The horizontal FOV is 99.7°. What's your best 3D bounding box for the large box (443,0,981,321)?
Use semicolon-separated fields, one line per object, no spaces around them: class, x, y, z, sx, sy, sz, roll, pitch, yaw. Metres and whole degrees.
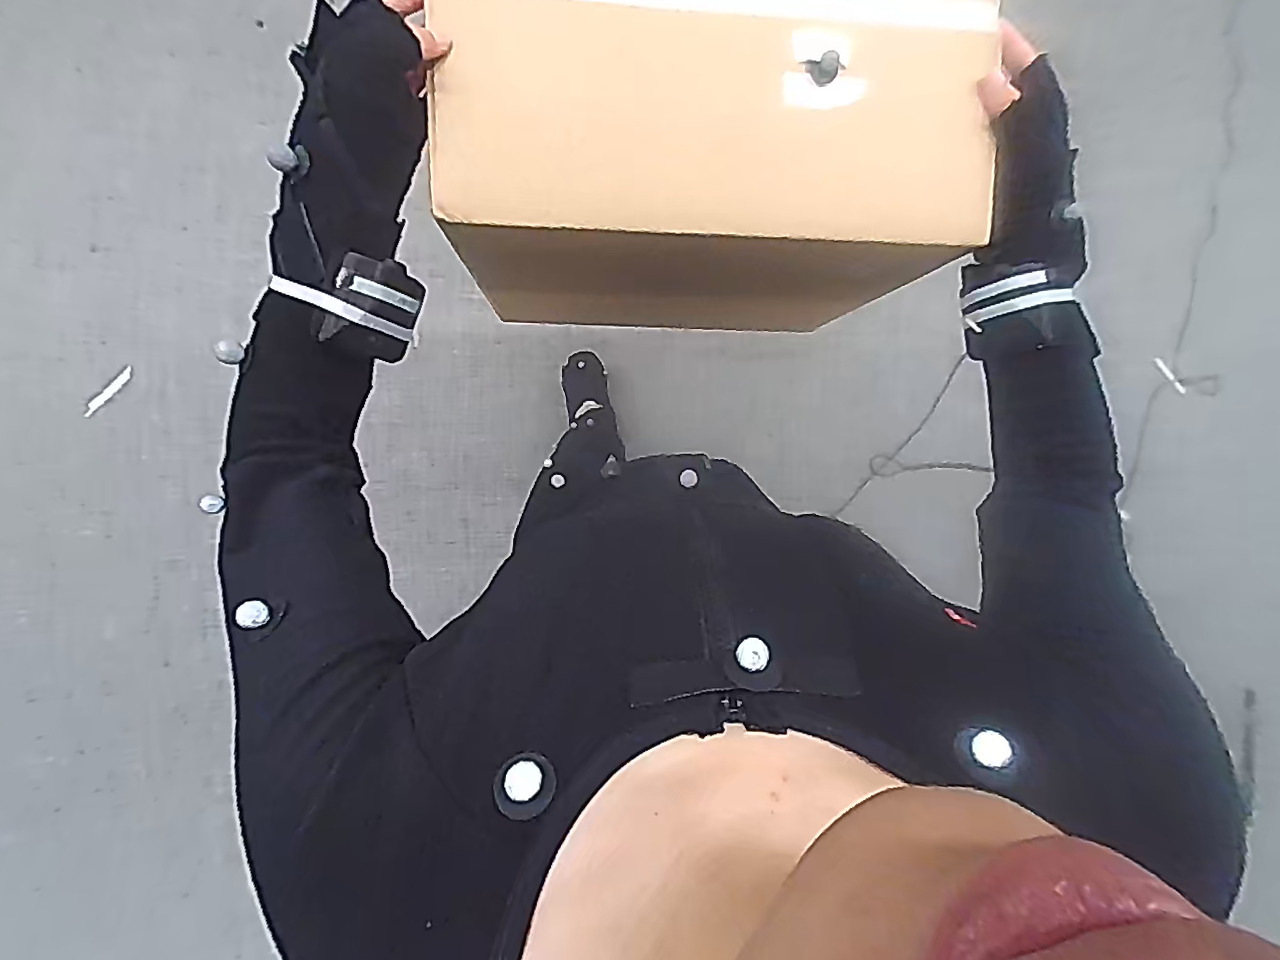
large box;0.043;-0.349;0.537;0.408;0.320;0.320;-1;94;-7
